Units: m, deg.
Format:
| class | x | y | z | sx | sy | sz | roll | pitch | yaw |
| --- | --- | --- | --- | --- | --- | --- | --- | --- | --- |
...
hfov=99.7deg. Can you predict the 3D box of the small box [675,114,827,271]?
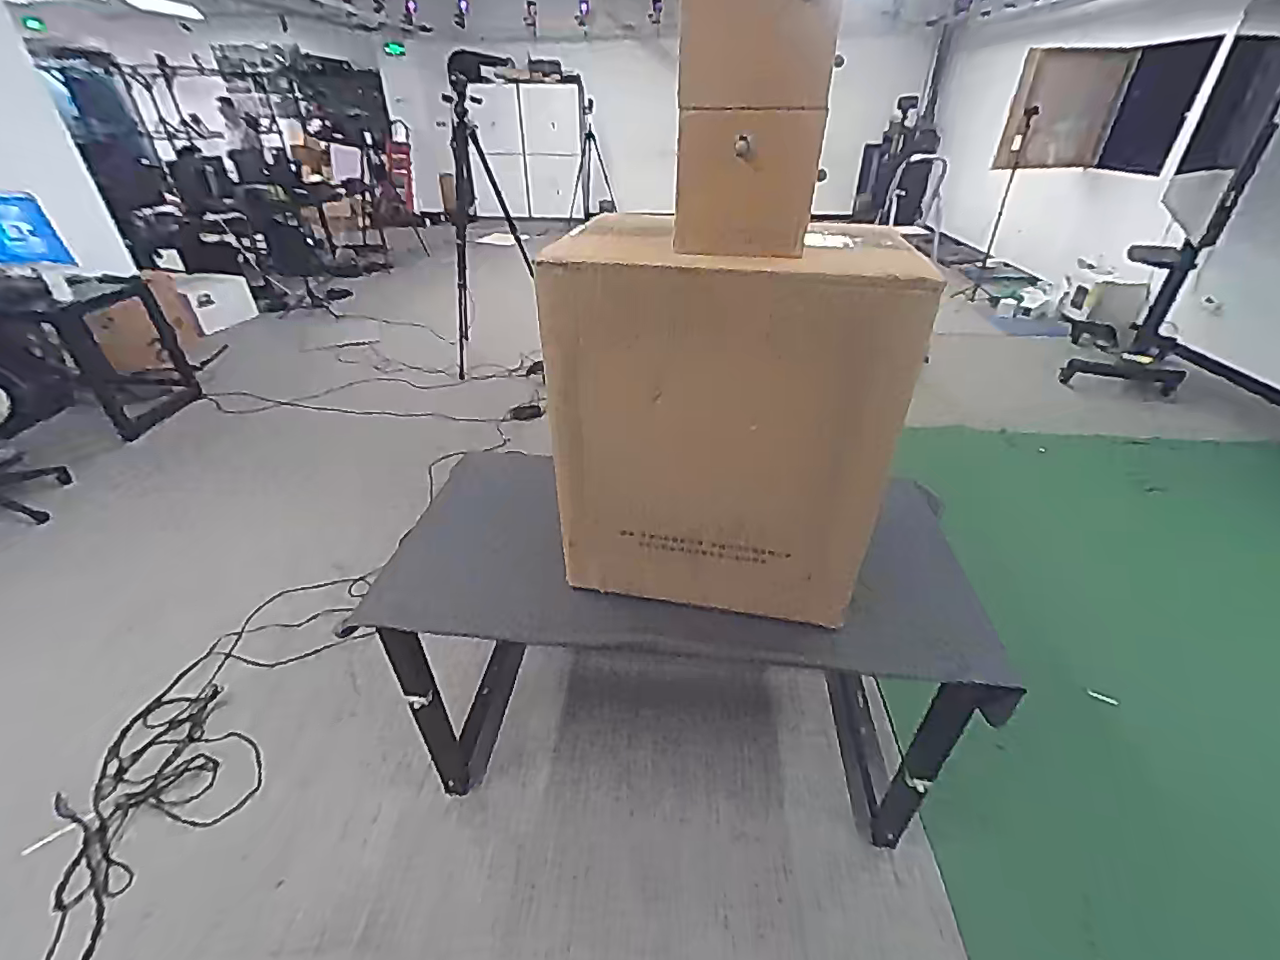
| class | x | y | z | sx | sy | sz | roll | pitch | yaw |
| --- | --- | --- | --- | --- | --- | --- | --- | --- | --- |
| small box | 0.147 | -0.395 | 0.743 | 0.179 | 0.176 | 0.168 | 6 | 37 | 10 |
